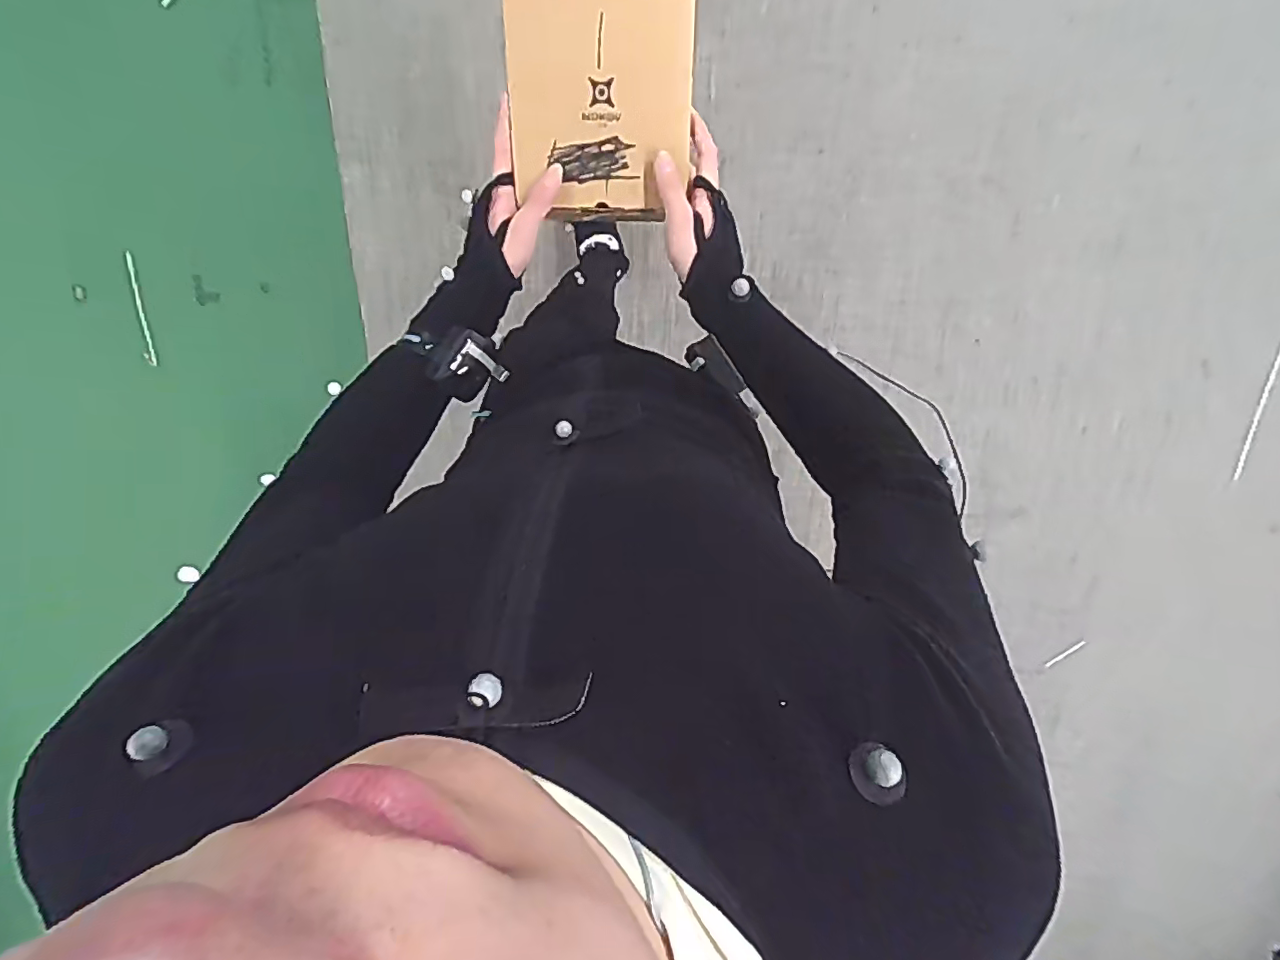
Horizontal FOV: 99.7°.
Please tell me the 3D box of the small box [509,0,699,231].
[{"bbox_3d":[-0.033,-0.361,0.563,0.168,0.176,0.179,1,111,-1],"label":"small box"}]
